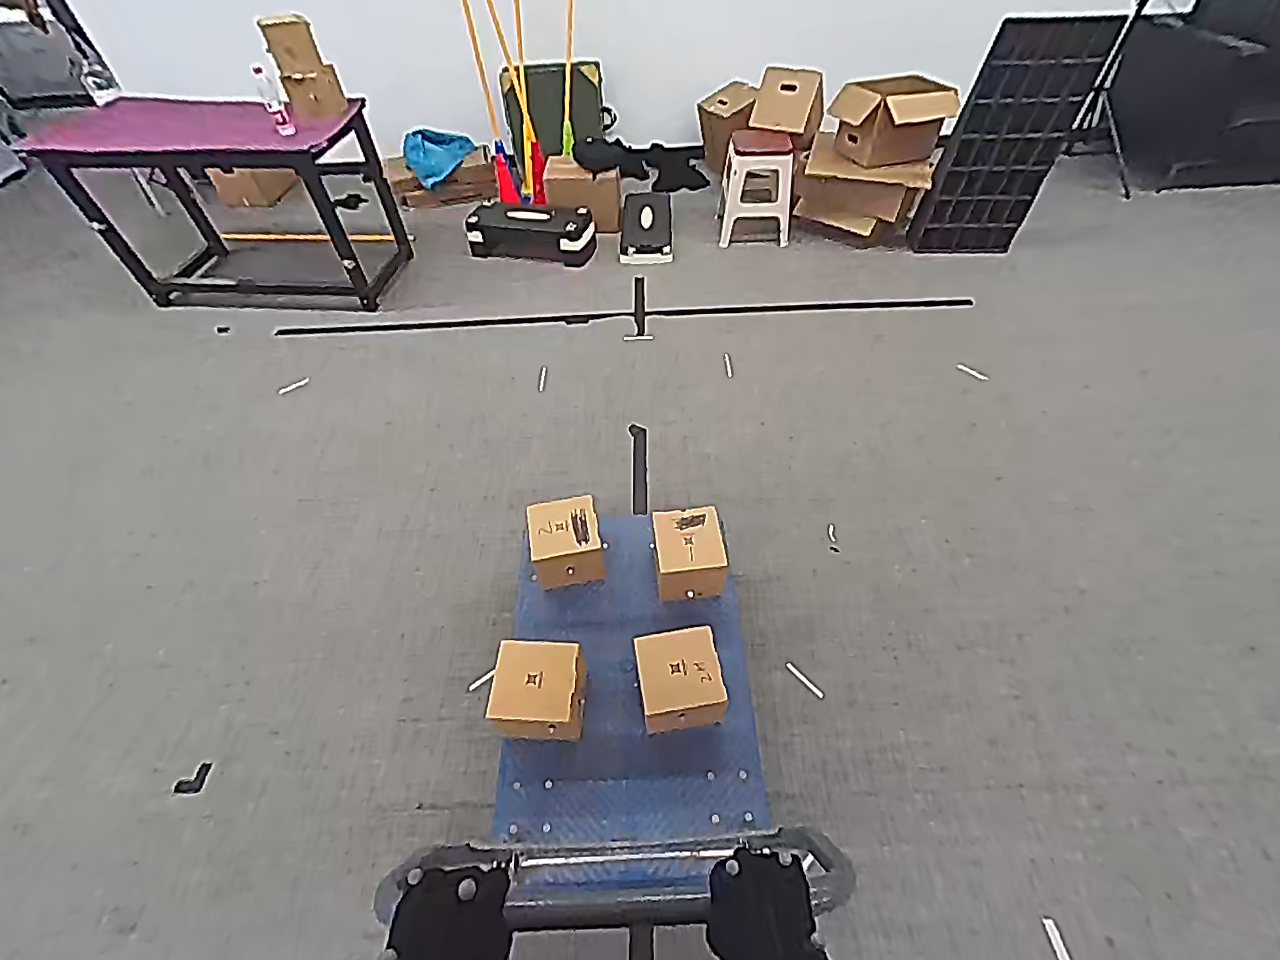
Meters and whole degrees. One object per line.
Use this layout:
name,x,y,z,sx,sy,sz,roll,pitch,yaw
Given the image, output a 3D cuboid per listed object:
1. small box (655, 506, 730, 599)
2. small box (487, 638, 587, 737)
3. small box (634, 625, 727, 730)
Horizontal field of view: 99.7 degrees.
small box,0.128,0.188,1.397,0.168,0.176,0.179,-6,54,-1
small box,-0.220,0.465,1.207,0.179,0.176,0.168,2,53,2
small box,0.088,0.445,1.208,0.179,0.176,0.168,-8,54,-3
